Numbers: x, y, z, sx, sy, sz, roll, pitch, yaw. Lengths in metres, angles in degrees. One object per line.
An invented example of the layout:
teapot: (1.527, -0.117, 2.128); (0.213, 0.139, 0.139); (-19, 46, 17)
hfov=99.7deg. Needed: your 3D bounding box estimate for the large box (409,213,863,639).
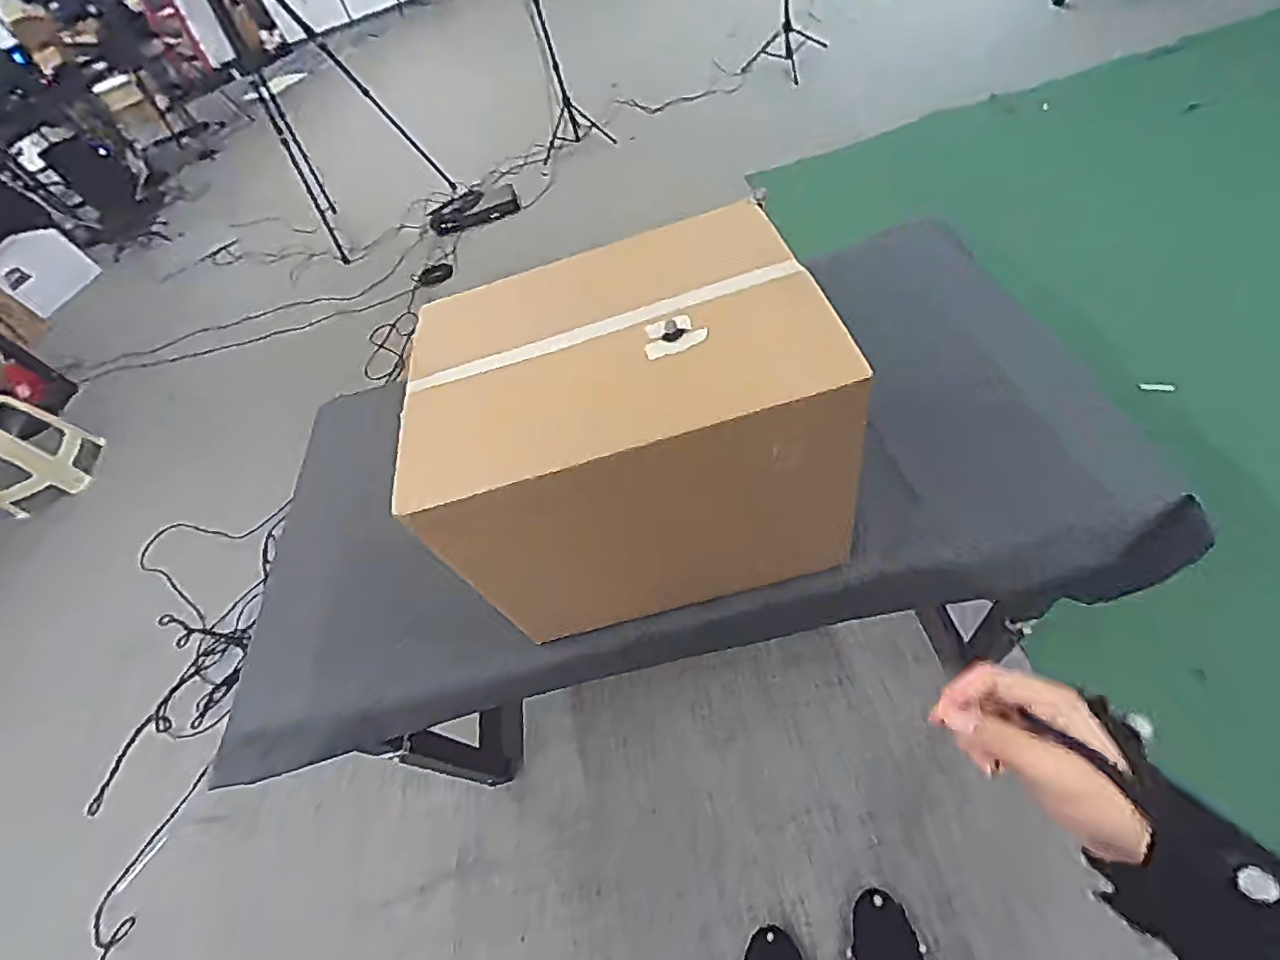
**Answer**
large box: (-0.002, -0.051, 0.654); (0.408, 0.320, 0.320); (-16, 51, 4)
